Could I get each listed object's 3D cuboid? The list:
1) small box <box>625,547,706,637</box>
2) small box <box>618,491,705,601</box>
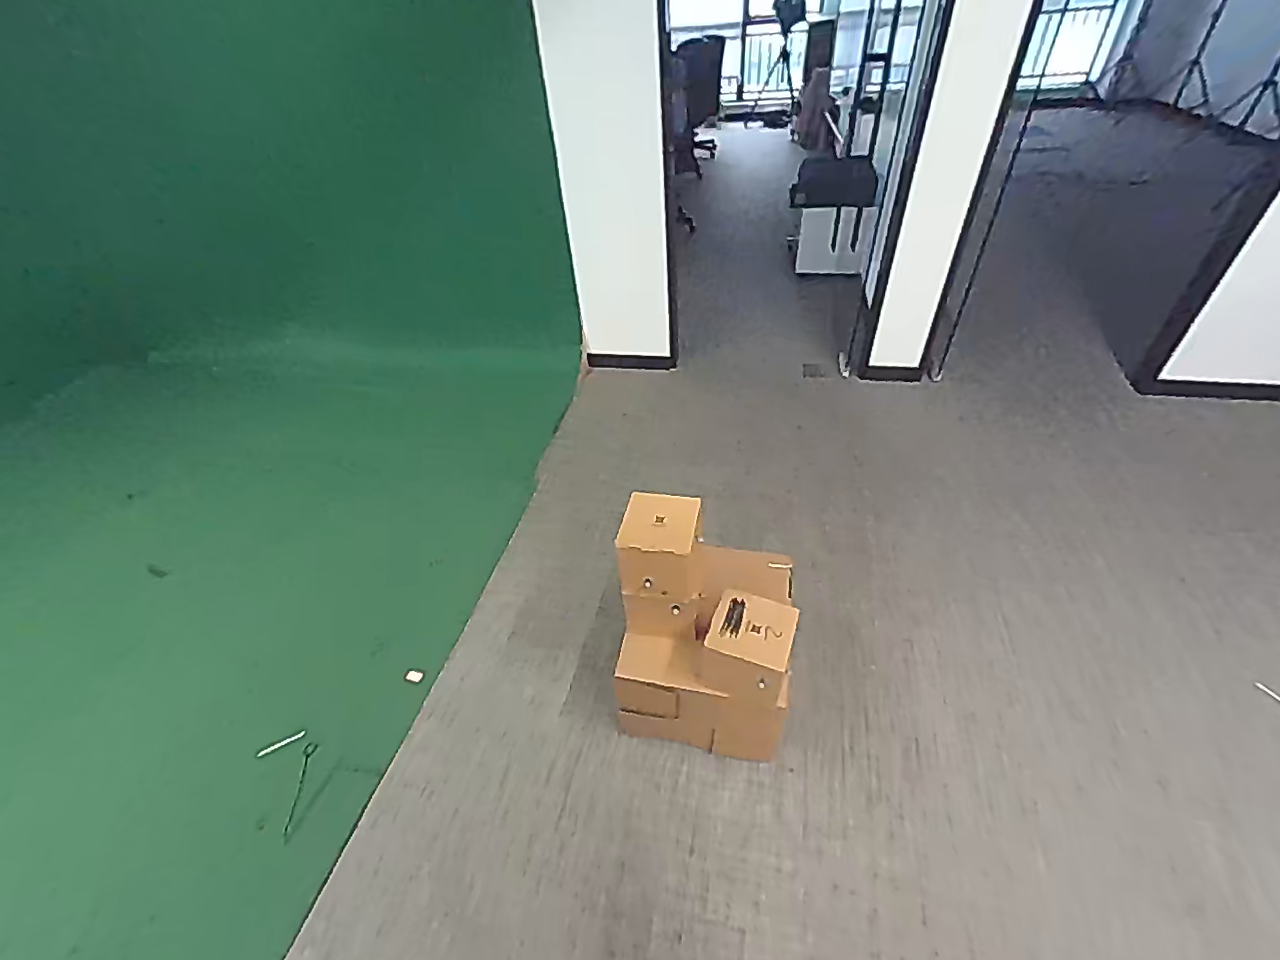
[{"bbox_3d":[0.071,0.274,1.360,0.179,0.176,0.168,4,41,12],"label":"small box"},{"bbox_3d":[0.055,0.152,1.254,0.168,0.176,0.179,5,42,13],"label":"small box"}]
